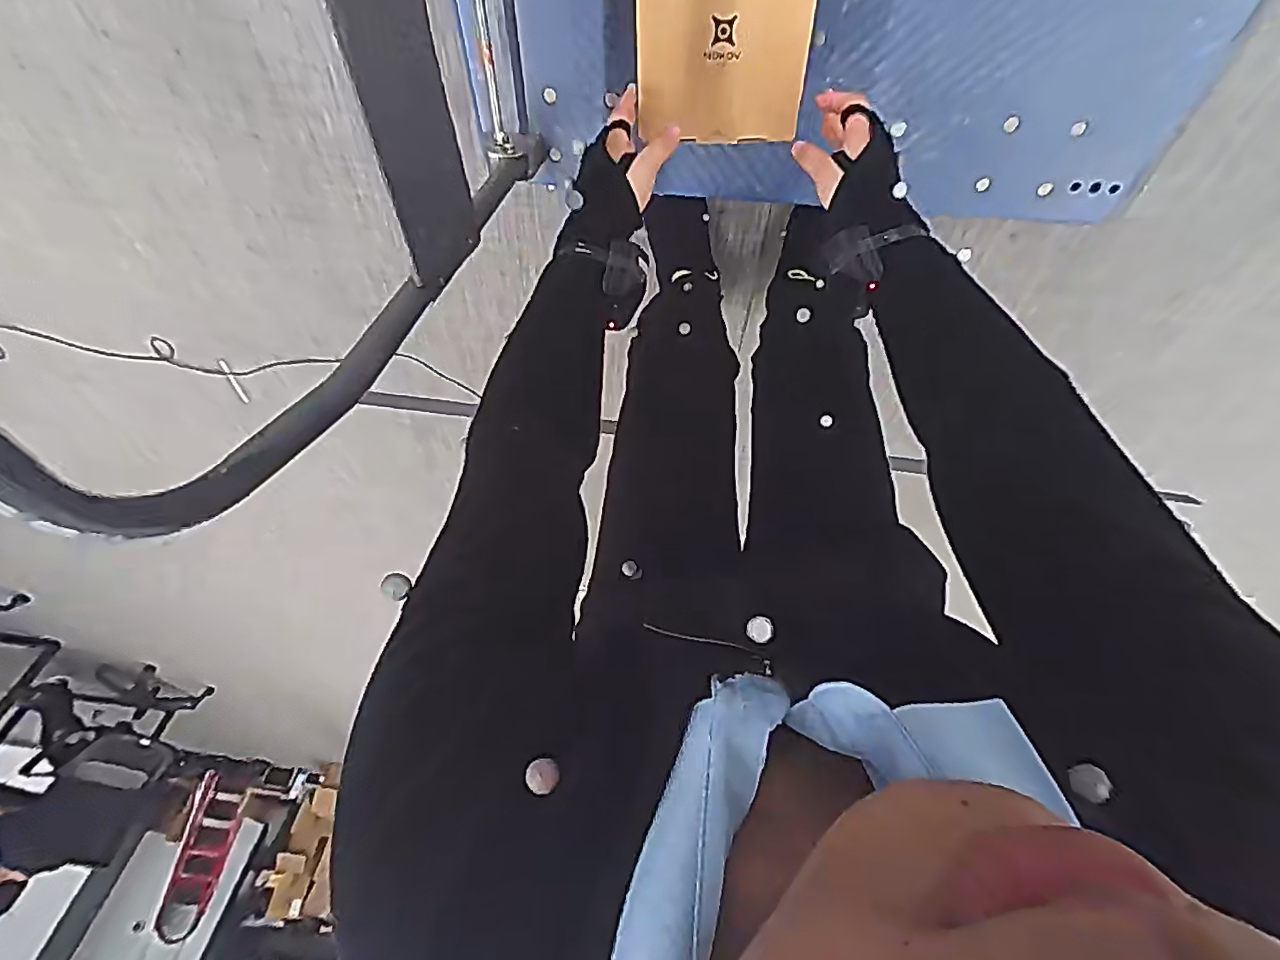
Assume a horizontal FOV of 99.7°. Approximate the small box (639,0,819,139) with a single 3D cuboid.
[{"bbox_3d":[0.087,-0.478,0.559,0.168,0.176,0.179,3,139,5],"label":"small box"}]
